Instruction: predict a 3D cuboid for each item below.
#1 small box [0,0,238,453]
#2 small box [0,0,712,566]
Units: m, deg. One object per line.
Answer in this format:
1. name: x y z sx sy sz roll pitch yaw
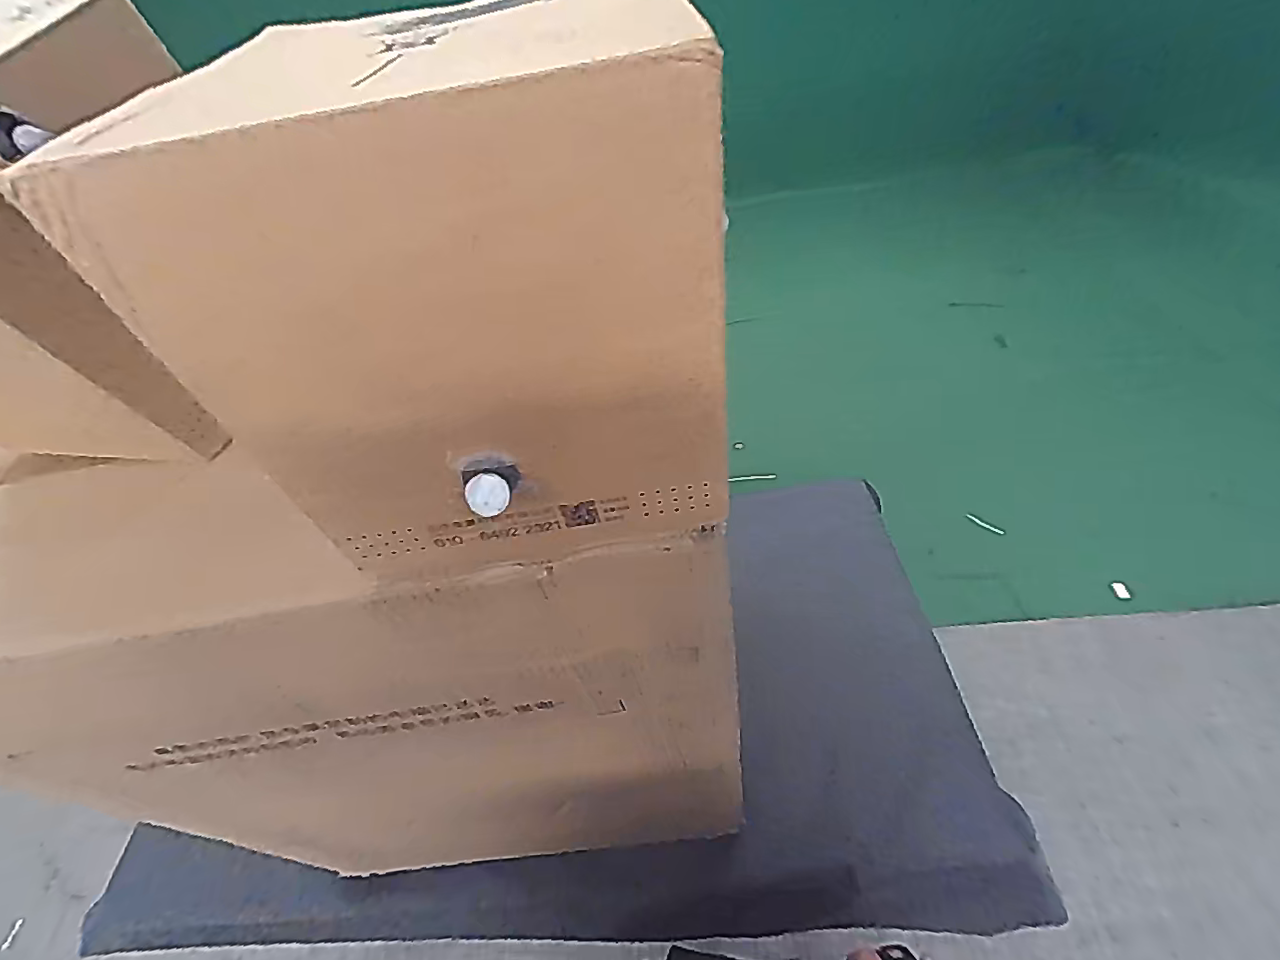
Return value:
1. small box: -0.331 -0.127 0.298 0.179 0.176 0.168 3 60 11
2. small box: -0.063 -0.087 0.233 0.168 0.176 0.179 -8 48 3
